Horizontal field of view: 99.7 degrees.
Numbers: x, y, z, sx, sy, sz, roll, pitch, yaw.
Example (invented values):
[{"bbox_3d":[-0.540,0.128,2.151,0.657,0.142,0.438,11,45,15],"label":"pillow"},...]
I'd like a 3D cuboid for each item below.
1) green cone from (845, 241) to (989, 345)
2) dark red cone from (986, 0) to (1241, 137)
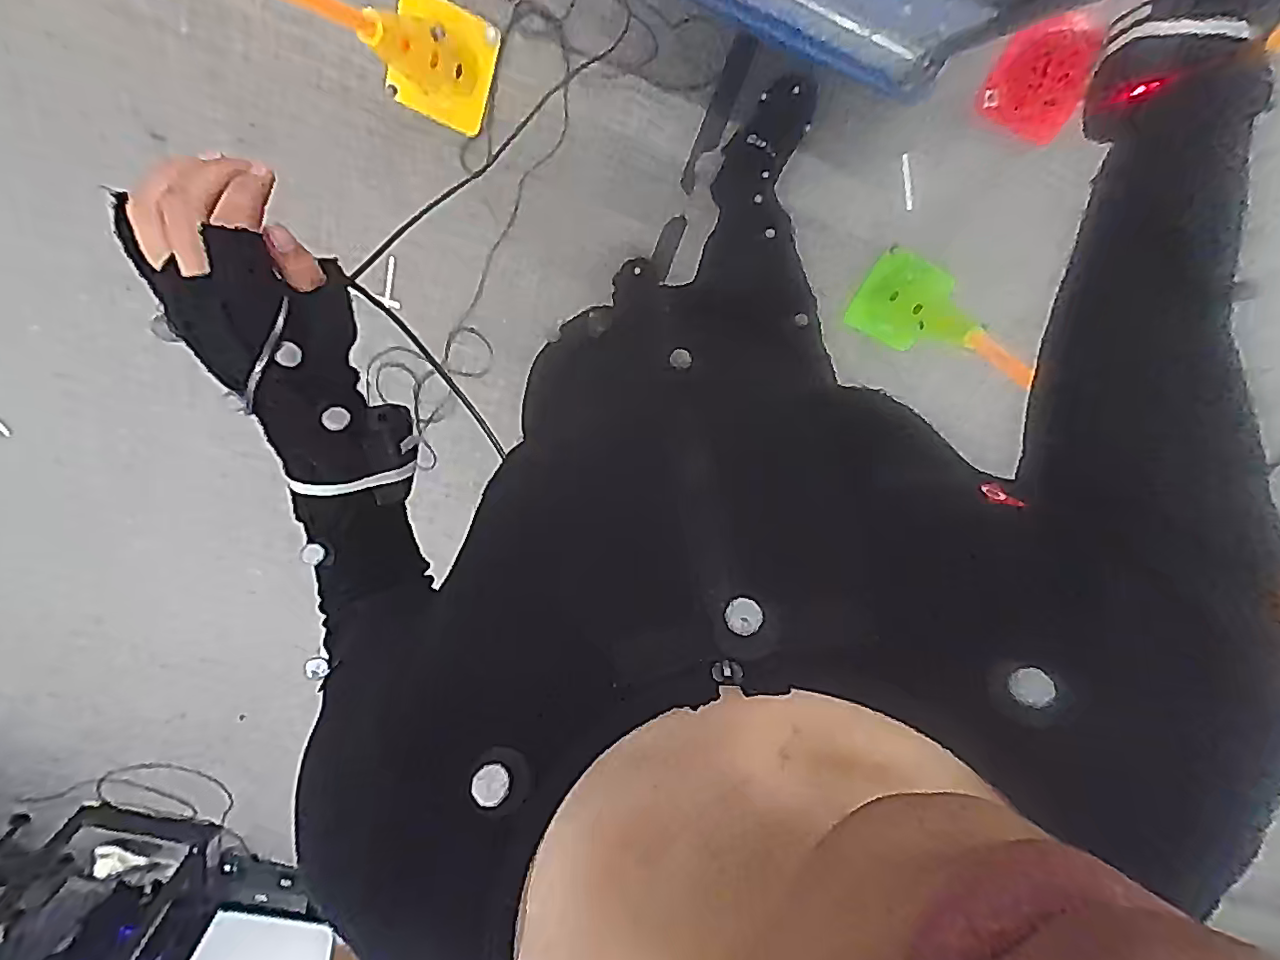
[{"bbox_3d":[0.631,-0.364,1.173,0.202,0.368,0.200,21,118,-13],"label":"green cone"},{"bbox_3d":[0.821,-0.739,0.930,0.201,0.394,0.202,17,120,-12],"label":"dark red cone"}]
